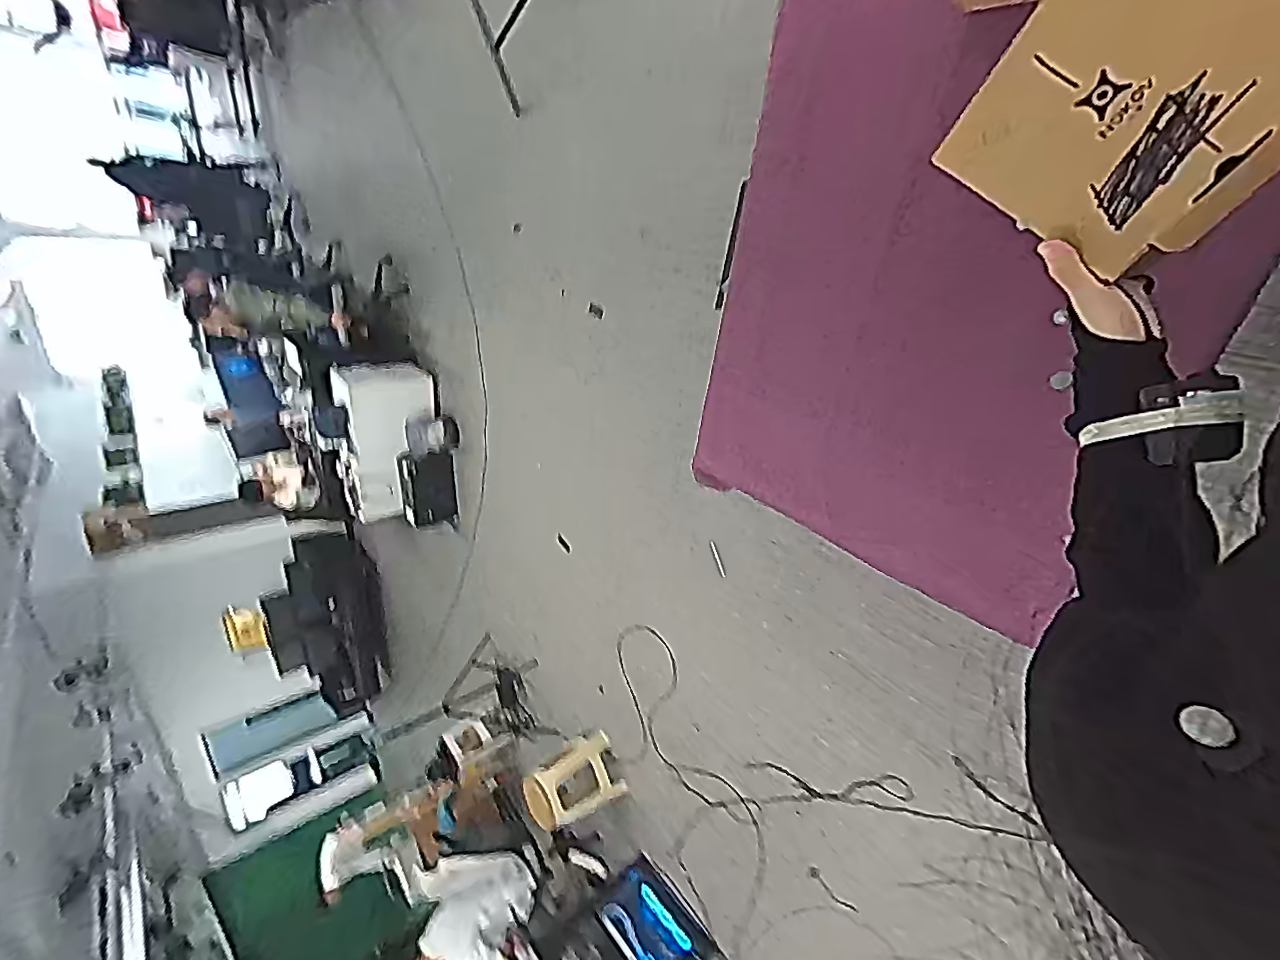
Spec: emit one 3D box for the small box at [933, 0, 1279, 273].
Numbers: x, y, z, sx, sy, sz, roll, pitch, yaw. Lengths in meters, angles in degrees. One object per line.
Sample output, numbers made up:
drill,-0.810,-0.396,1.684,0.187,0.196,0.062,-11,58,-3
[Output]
small box,0.381,-0.286,0.413,0.179,0.176,0.168,54,141,21
